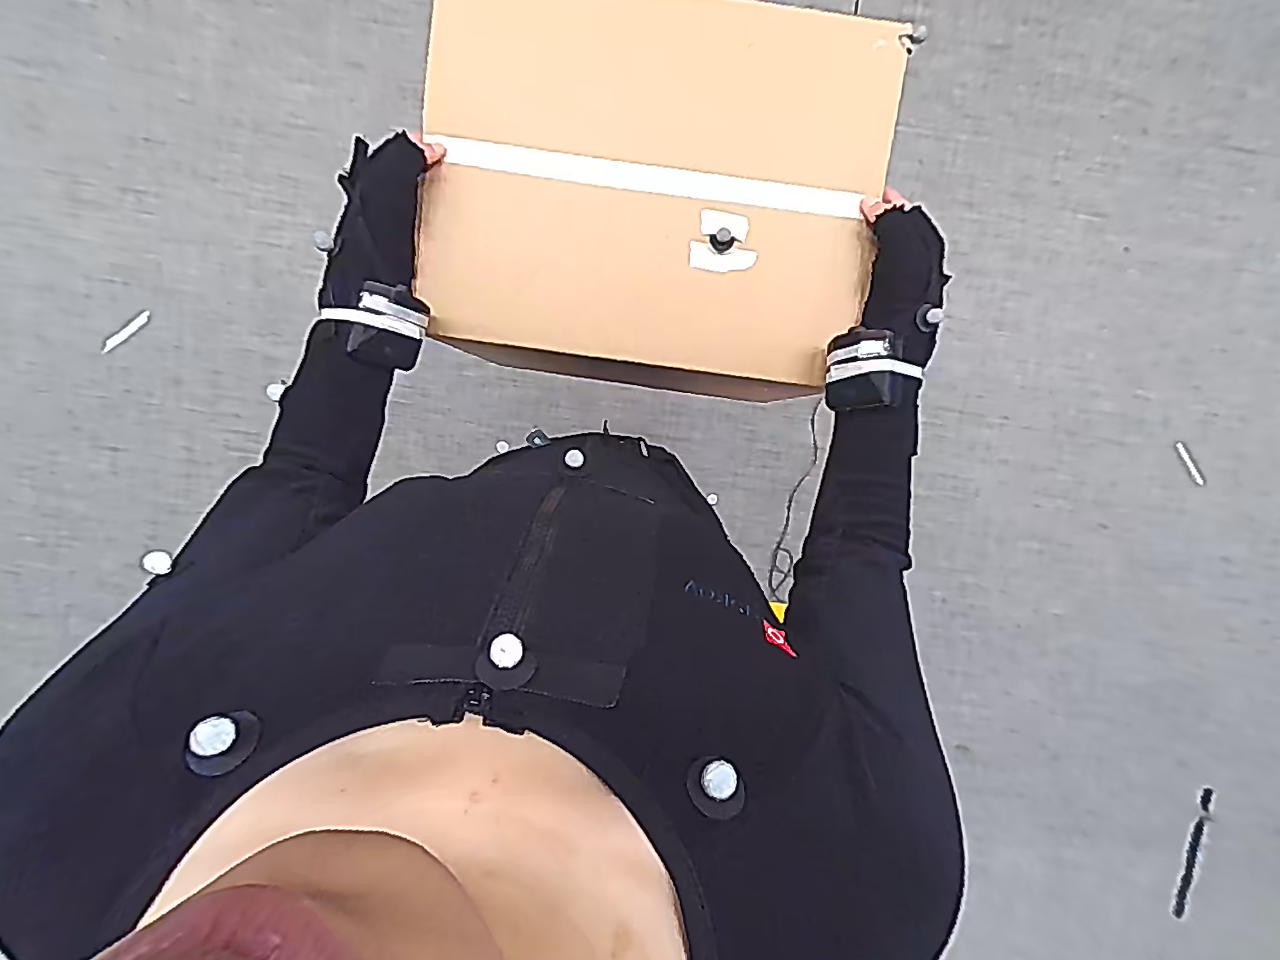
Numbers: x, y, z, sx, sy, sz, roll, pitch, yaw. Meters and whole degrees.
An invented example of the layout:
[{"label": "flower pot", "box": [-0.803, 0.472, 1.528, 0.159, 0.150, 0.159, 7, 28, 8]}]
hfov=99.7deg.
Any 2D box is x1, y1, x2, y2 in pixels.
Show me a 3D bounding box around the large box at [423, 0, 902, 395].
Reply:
[{"label": "large box", "box": [0.012, -0.282, 0.627, 0.408, 0.320, 0.320, 7, 97, -2]}]
